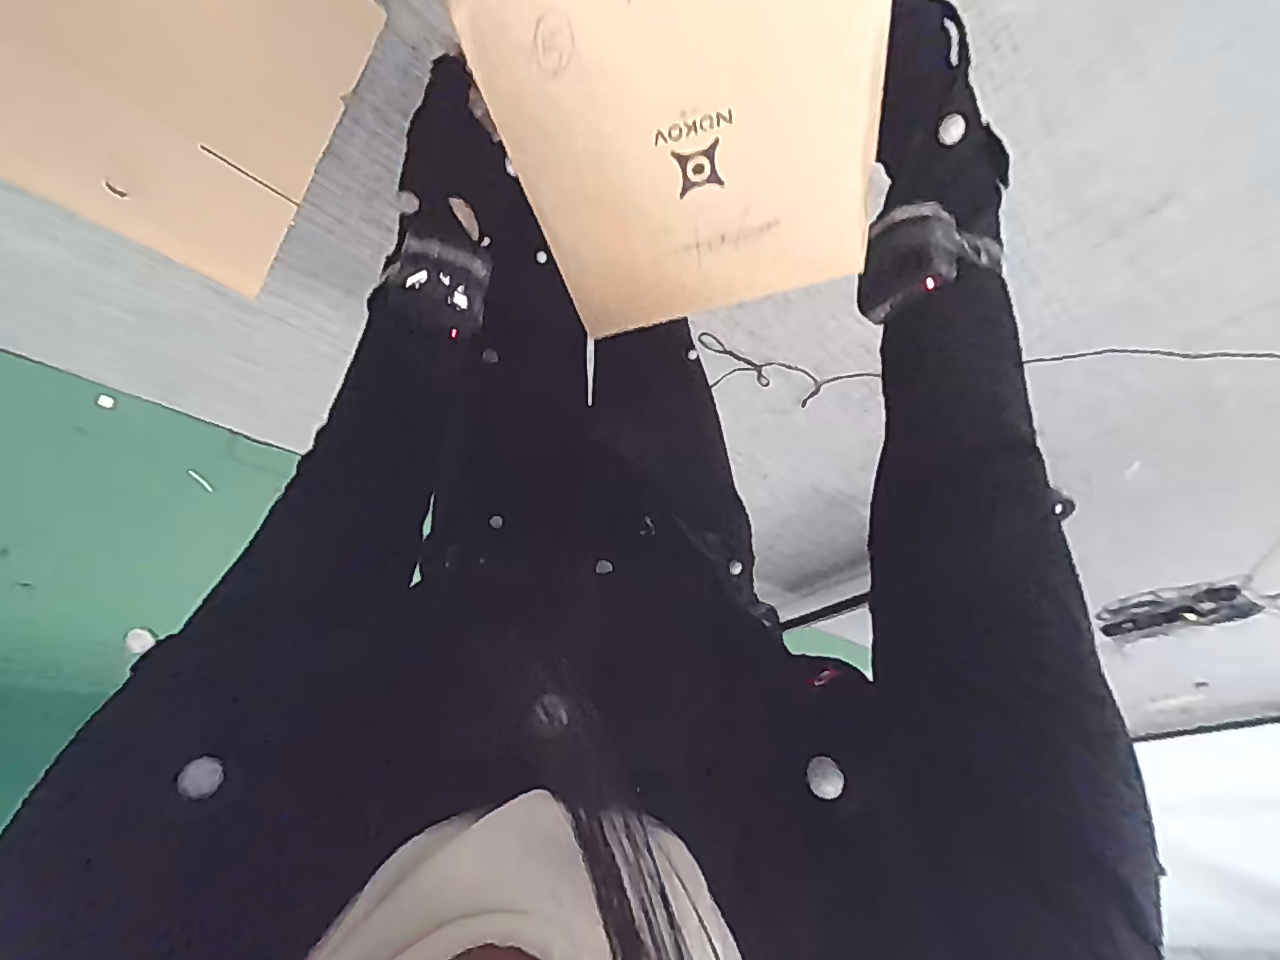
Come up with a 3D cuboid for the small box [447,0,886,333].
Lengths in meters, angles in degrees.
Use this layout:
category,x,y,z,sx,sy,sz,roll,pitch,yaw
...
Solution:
category,x,y,z,sx,sy,sz,roll,pitch,yaw
small box,0.020,-0.218,0.296,0.168,0.176,0.179,-11,146,11
